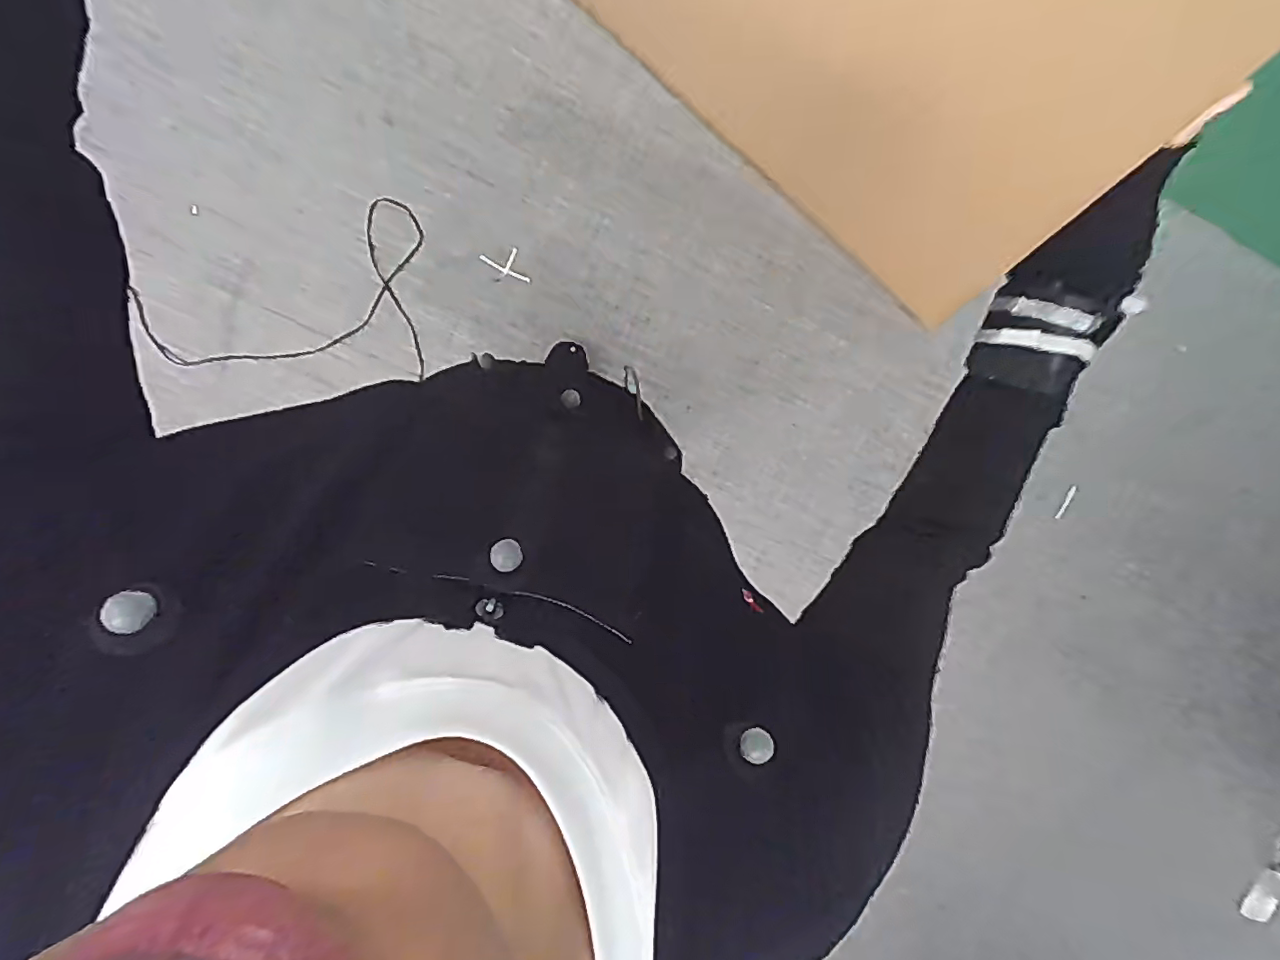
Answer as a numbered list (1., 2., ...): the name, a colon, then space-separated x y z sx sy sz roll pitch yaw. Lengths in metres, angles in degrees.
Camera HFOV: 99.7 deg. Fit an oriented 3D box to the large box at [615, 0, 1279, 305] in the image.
1. large box: 0.109 -0.369 0.267 0.408 0.320 0.320 23 130 -34
